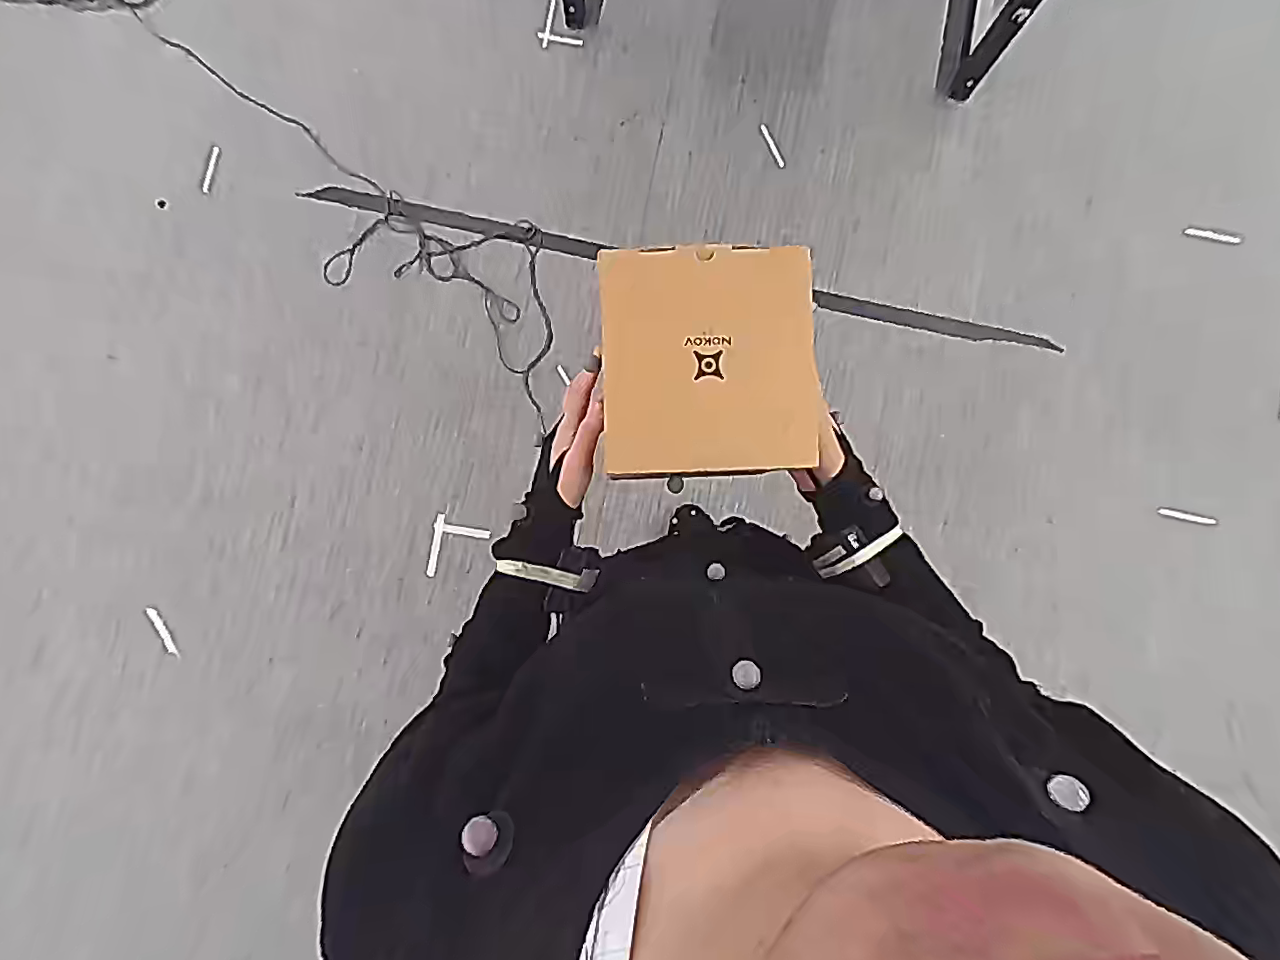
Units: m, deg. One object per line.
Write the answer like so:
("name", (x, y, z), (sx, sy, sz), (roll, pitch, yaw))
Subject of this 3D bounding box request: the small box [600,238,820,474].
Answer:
("small box", (0.052, -0.095, 0.493), (0.168, 0.176, 0.179), (-2, 87, -2))

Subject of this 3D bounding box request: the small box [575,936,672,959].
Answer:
("small box", (-0.034, 0.827, 0.784), (0.168, 0.176, 0.179), (11, 87, 1))
